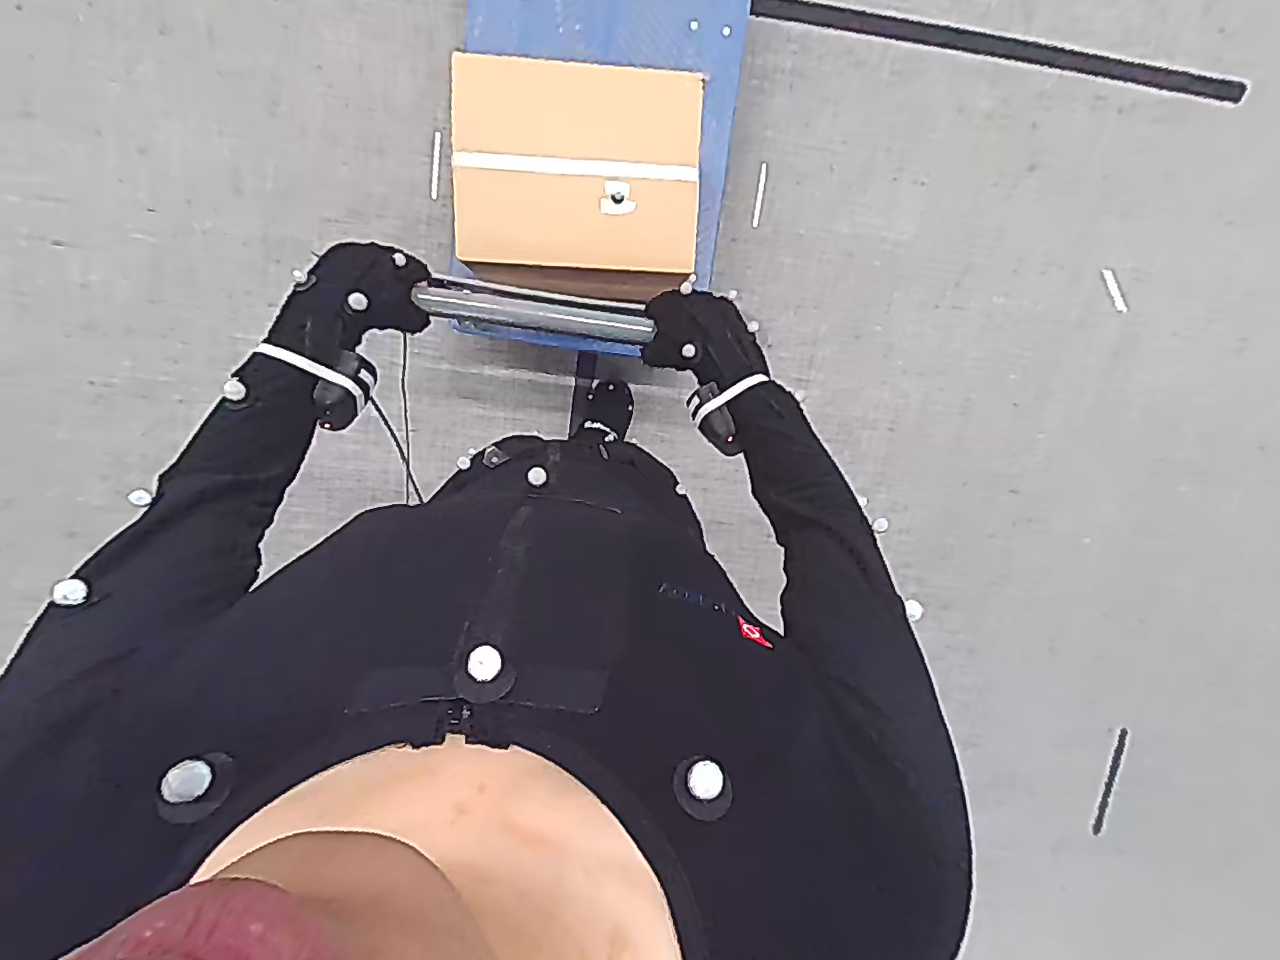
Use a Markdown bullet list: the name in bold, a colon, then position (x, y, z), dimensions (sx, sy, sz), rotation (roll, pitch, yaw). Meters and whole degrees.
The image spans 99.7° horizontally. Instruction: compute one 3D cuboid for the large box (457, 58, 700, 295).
- **large box**: position (-0.115, -0.550, 1.054), dimensions (0.408, 0.320, 0.320), rotation (1, 100, -6)
